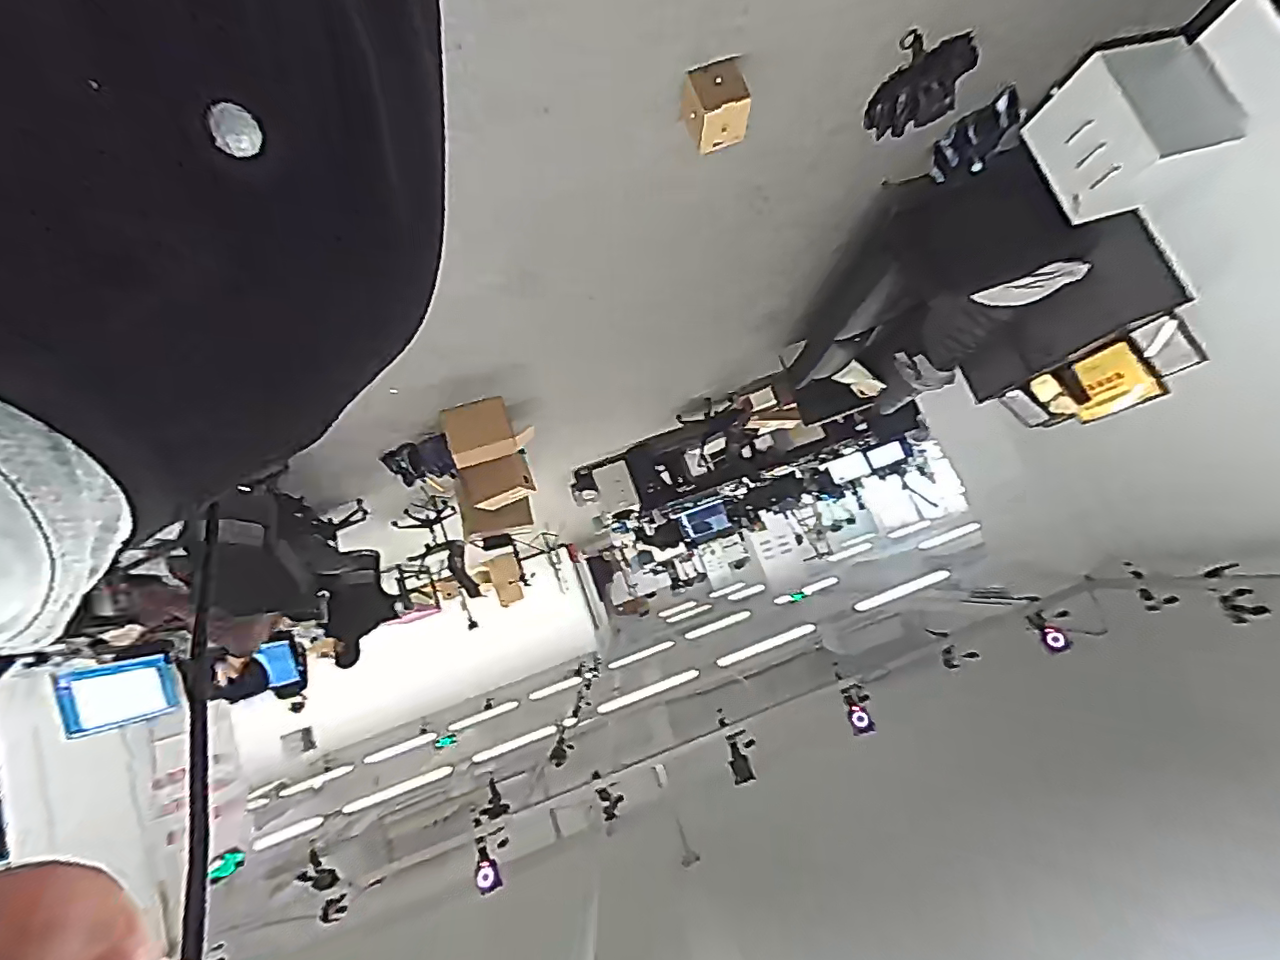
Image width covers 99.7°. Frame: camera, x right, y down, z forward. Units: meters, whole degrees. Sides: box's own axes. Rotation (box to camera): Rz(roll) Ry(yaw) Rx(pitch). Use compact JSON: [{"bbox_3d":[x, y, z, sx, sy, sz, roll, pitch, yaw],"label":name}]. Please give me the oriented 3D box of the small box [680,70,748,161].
[{"bbox_3d":[0.240,-1.227,1.812,0.168,0.176,0.179,-21,169,-3],"label":"small box"}]
